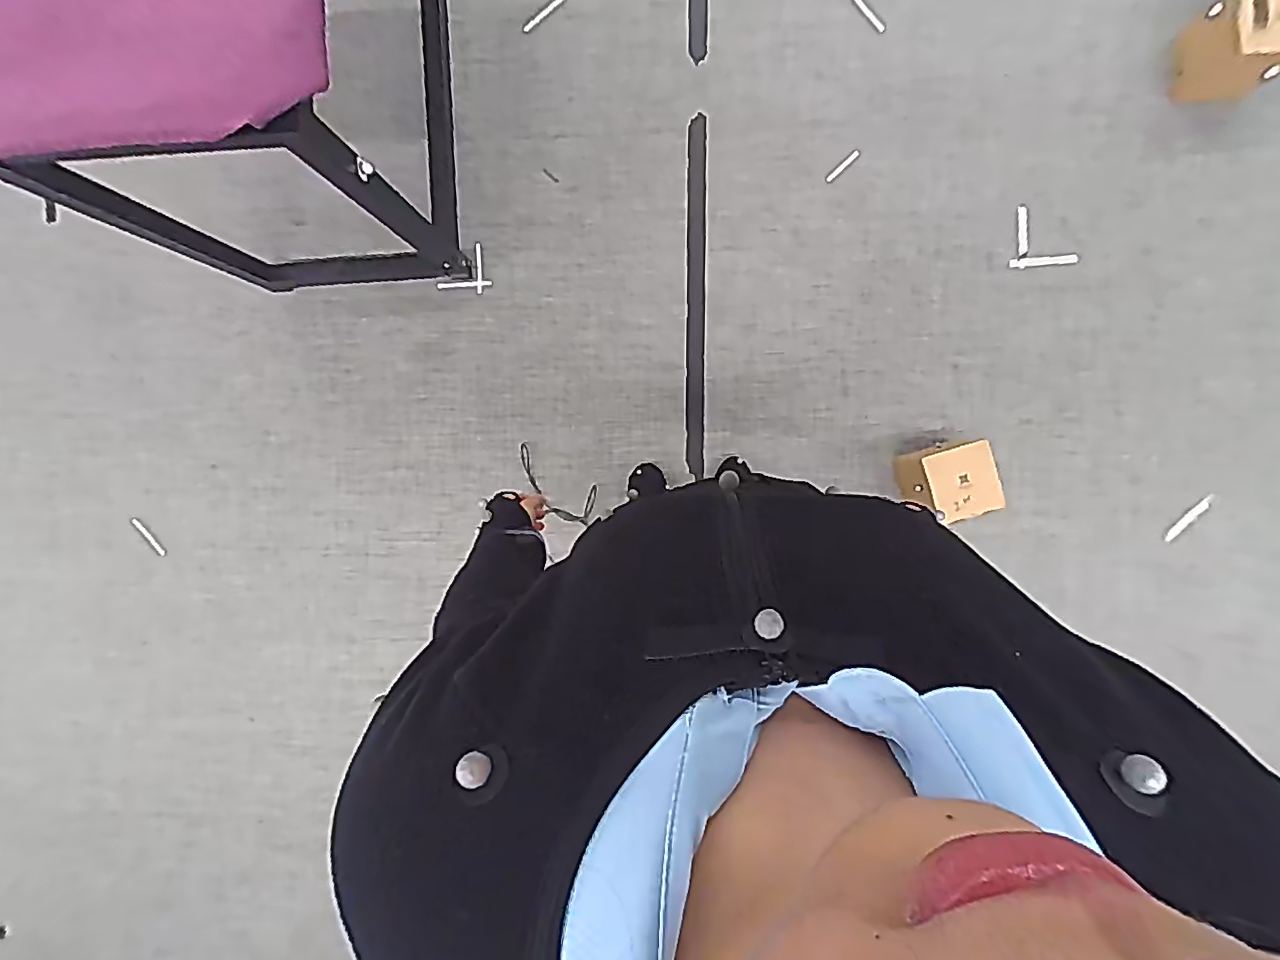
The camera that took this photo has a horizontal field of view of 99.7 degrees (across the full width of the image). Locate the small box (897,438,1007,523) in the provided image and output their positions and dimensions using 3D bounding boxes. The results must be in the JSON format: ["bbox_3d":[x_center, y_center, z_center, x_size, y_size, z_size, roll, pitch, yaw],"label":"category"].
[{"bbox_3d":[0.787,0.000,1.385,0.168,0.176,0.179,-17,92,3],"label":"small box"}]
